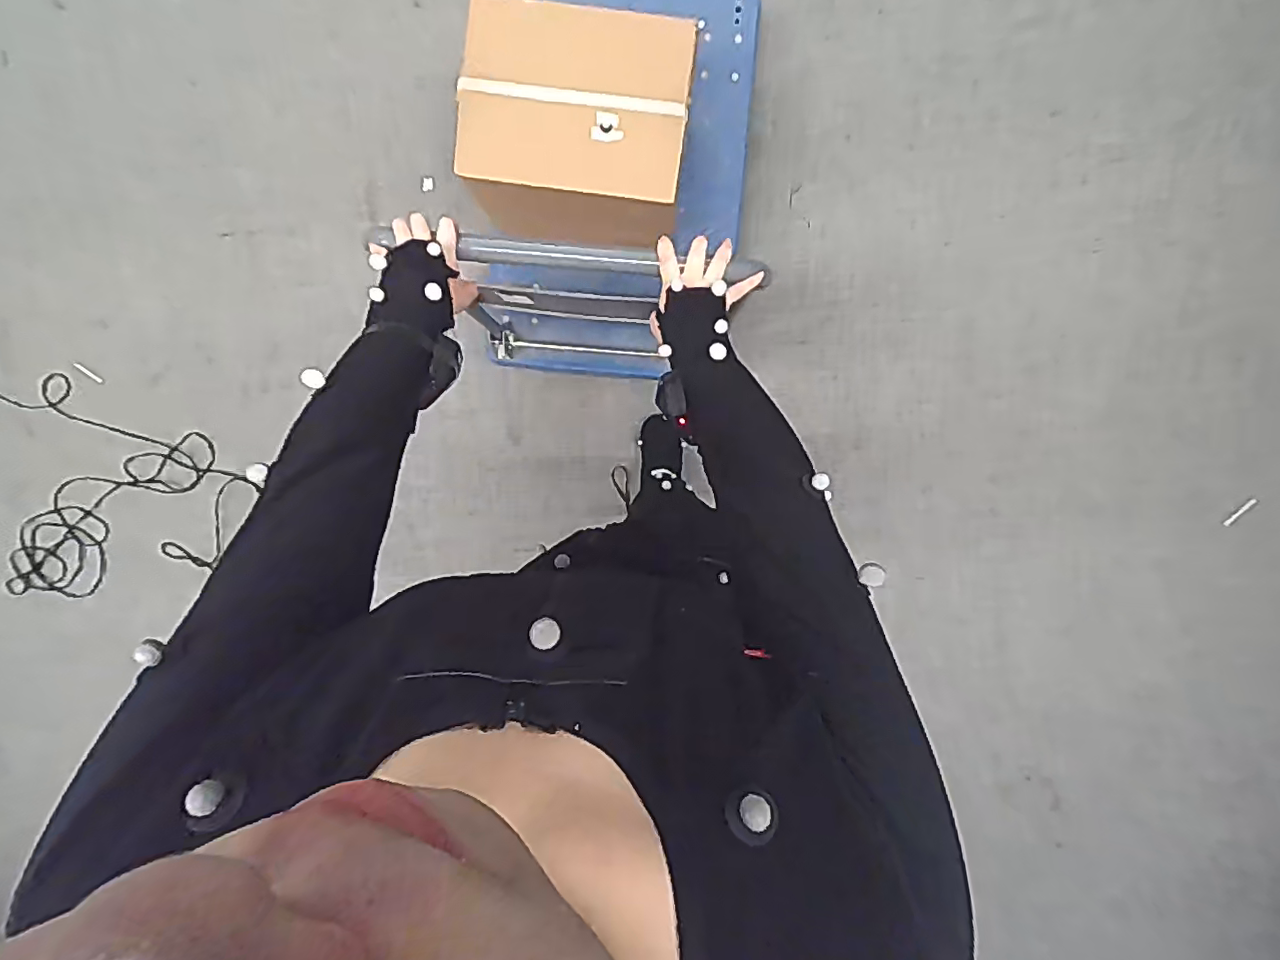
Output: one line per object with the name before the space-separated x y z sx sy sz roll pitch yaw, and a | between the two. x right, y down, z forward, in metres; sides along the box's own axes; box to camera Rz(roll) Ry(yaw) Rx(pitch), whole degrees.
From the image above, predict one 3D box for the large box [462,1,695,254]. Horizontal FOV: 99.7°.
large box | -0.116 -0.697 1.127 0.408 0.320 0.320 7 95 0
